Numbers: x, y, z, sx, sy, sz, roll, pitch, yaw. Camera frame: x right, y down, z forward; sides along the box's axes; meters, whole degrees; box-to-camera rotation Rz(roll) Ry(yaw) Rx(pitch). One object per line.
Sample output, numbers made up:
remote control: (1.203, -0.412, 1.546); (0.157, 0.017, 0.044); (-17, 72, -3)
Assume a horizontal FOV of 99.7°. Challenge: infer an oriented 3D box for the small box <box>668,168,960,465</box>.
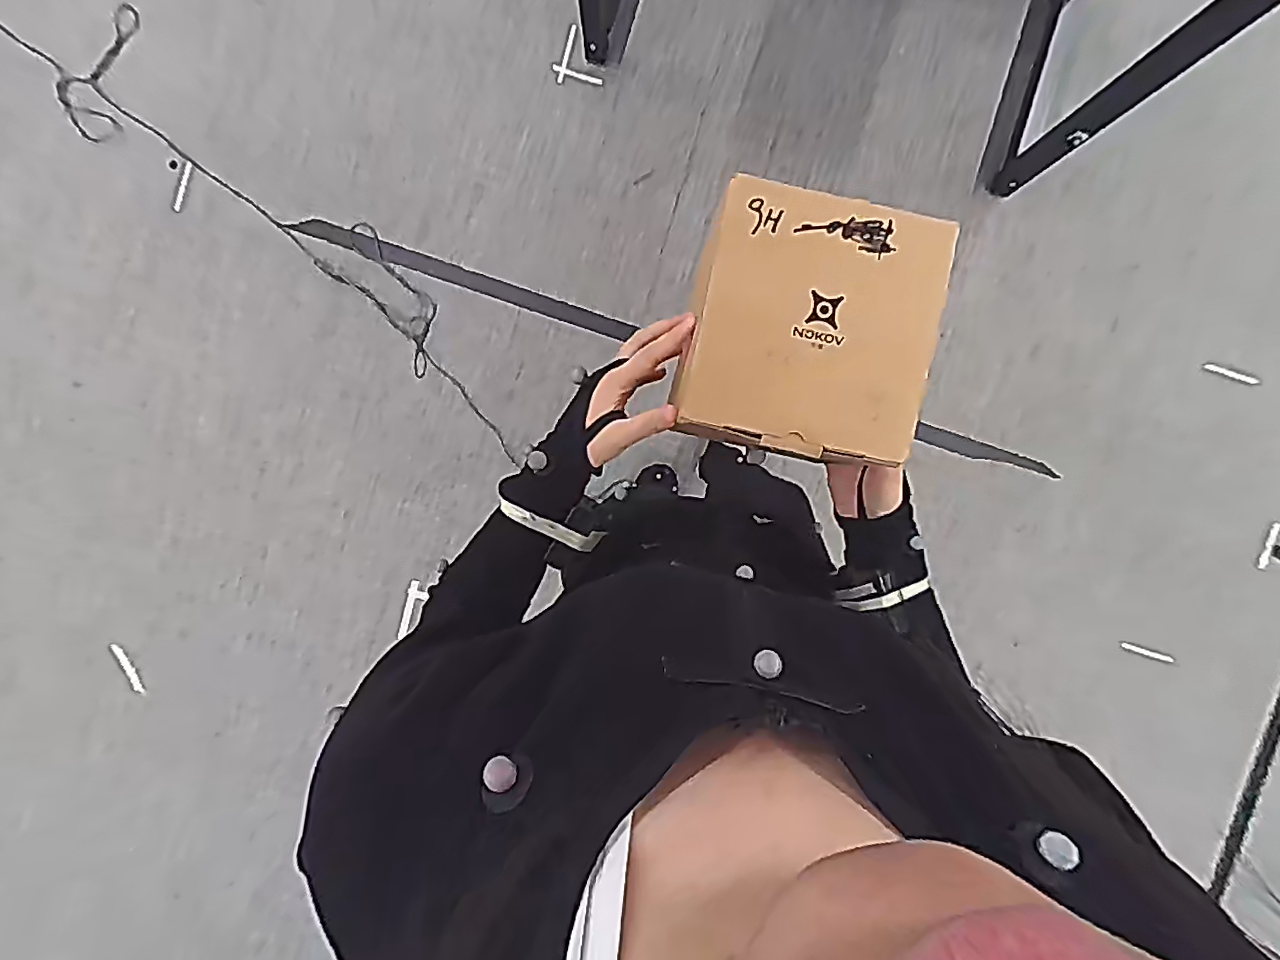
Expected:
small box: (0.122, -0.117, 0.455); (0.168, 0.176, 0.179); (12, 94, -3)
